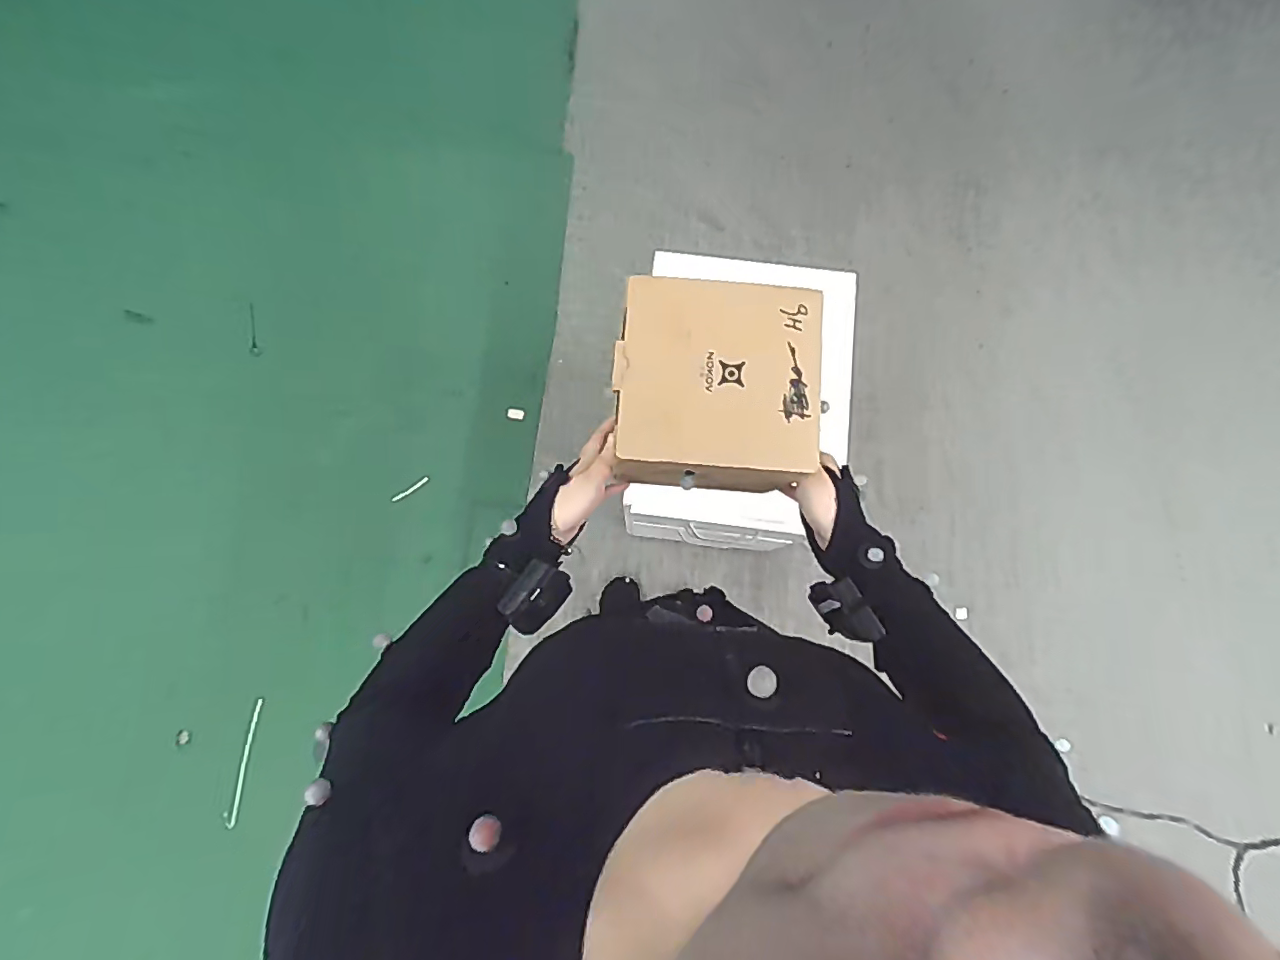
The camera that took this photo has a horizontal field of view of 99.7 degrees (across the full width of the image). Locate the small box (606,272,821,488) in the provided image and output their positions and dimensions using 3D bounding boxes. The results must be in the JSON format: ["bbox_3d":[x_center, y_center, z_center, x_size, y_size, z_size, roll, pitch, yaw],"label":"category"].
[{"bbox_3d":[0.064,-0.085,0.539,0.179,0.176,0.168,5,83,0],"label":"small box"}]
